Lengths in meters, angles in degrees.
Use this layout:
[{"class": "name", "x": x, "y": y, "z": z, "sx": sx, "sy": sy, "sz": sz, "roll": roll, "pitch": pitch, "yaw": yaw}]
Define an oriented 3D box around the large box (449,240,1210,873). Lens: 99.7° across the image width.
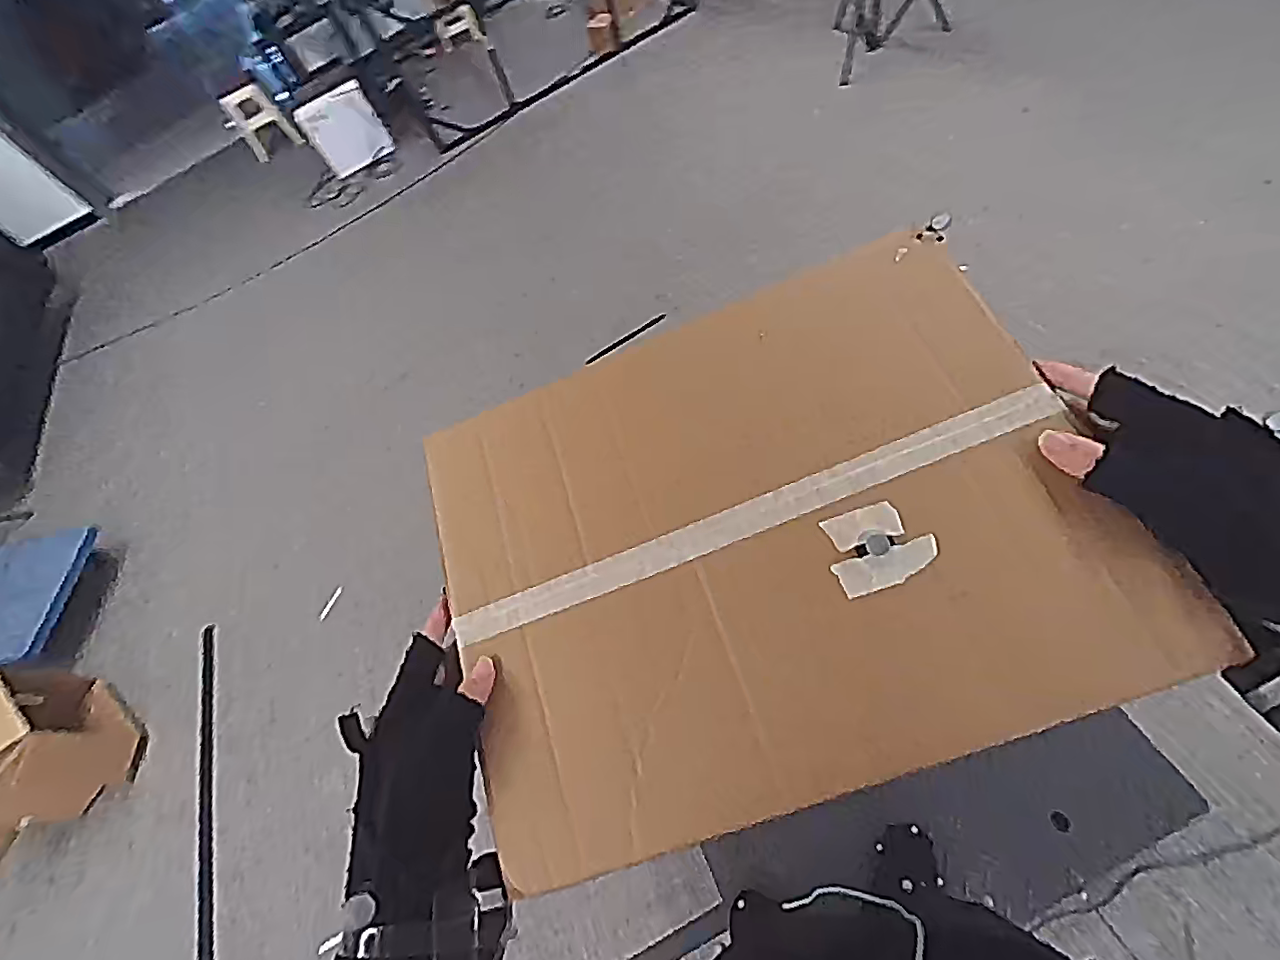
[{"class": "large box", "x": 0.106, "y": 0.077, "z": 0.495, "sx": 0.408, "sy": 0.320, "sz": 0.320, "roll": -22, "pitch": 68, "yaw": 5}]
